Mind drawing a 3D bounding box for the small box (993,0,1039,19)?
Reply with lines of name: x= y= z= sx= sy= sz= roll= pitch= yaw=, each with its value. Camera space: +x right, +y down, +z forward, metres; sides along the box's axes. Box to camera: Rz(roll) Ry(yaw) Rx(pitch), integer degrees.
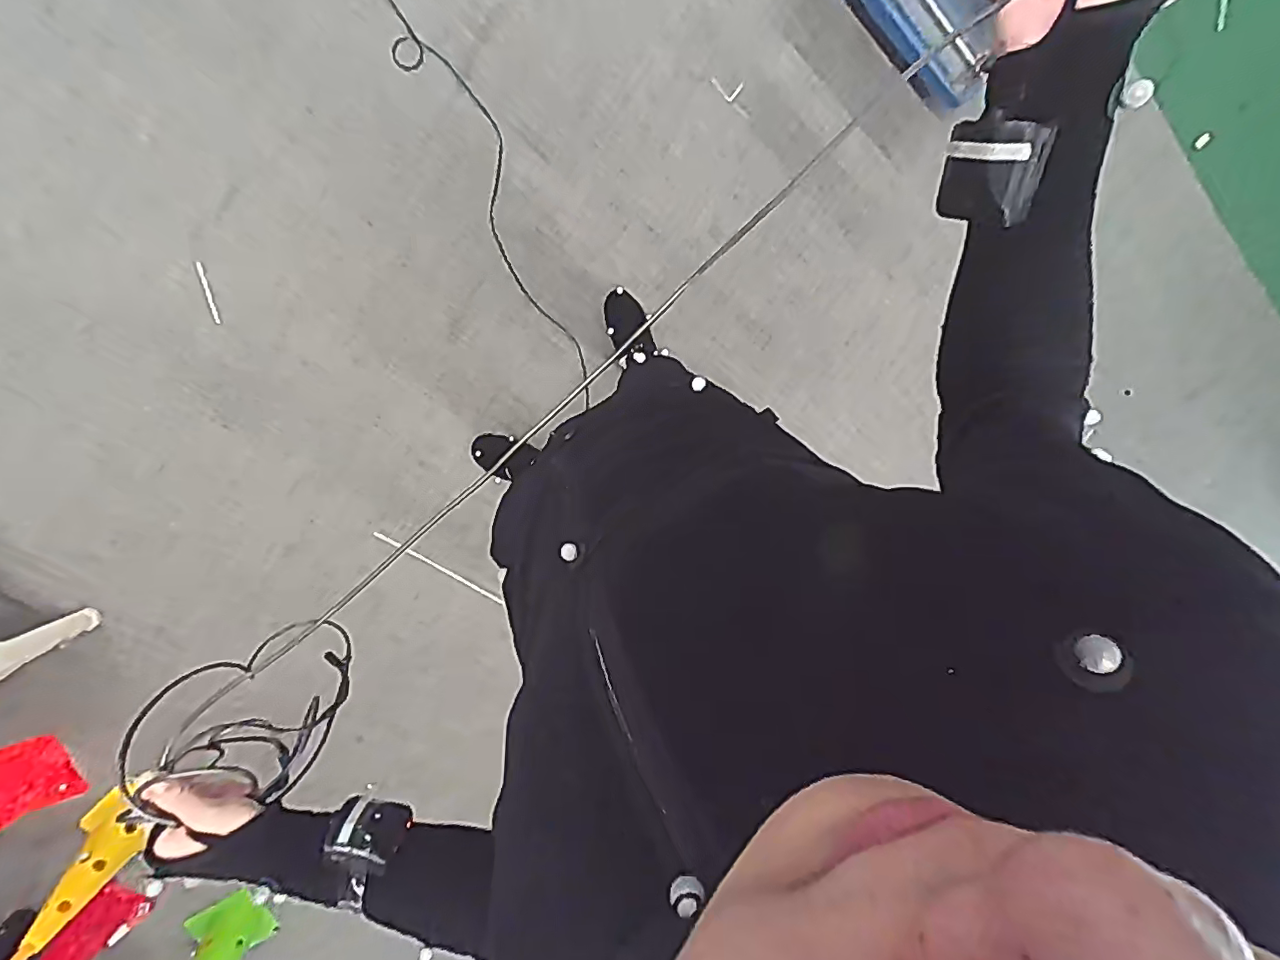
small box: x=0.947 y=-1.266 z=1.275 sx=0.168 sy=0.176 sz=0.179 roll=37 pitch=94 yaw=-18
